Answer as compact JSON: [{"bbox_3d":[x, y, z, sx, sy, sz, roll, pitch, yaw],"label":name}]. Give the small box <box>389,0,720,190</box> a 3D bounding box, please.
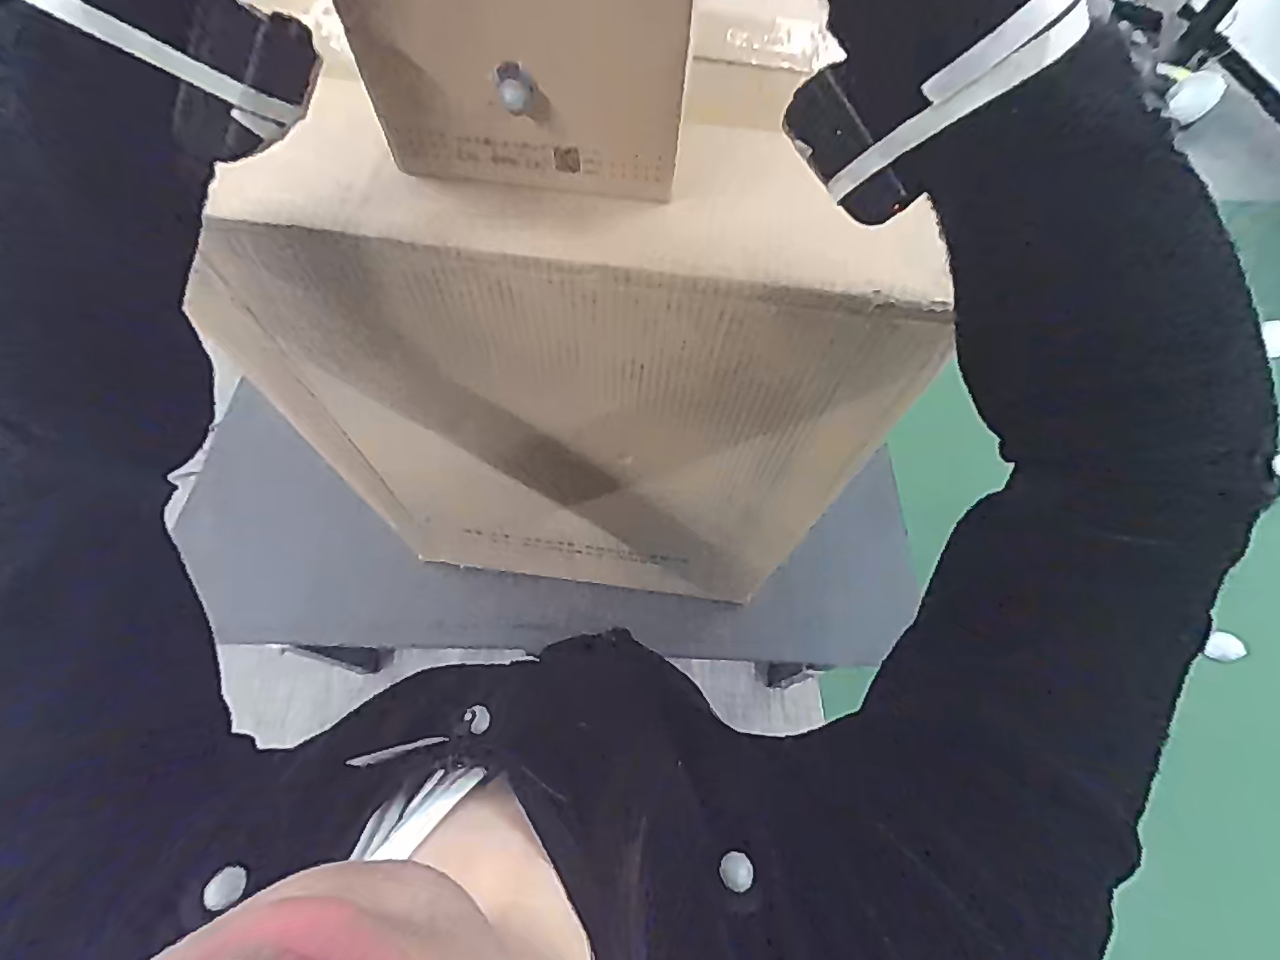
[{"bbox_3d":[-0.037,-0.295,0.290,0.168,0.176,0.179,7,65,0],"label":"small box"}]
